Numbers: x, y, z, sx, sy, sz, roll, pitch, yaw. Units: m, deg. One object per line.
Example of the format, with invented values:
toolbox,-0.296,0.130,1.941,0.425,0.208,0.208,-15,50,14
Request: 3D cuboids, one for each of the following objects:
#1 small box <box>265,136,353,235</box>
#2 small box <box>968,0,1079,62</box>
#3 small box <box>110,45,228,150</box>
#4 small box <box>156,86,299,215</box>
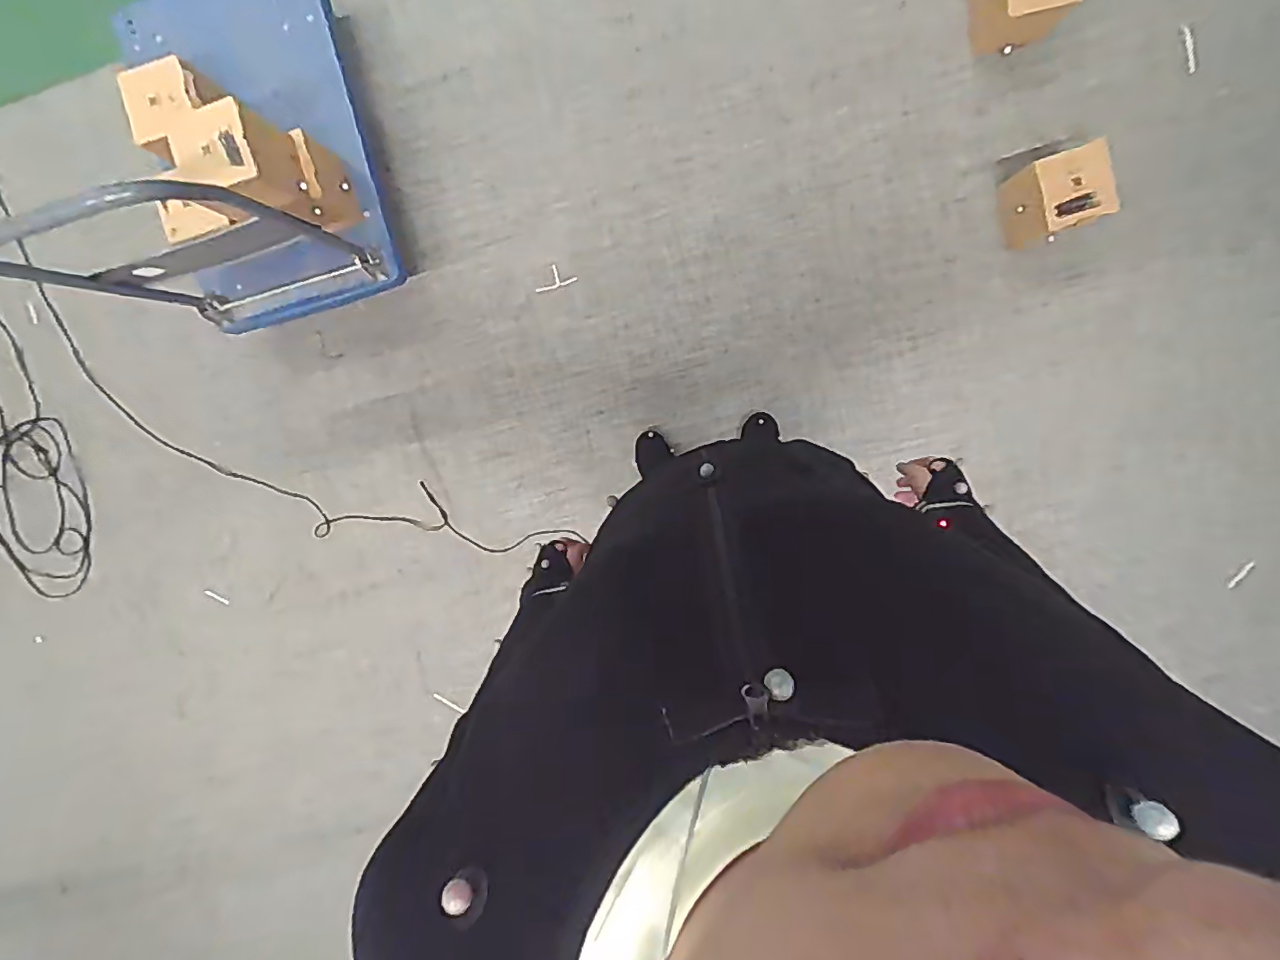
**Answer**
small box,-0.858,-0.744,1.363,0.168,0.176,0.179,17,99,0
small box,0.935,-1.189,1.333,0.168,0.176,0.179,-7,97,6
small box,-1.147,-0.929,1.353,0.179,0.176,0.168,-10,97,5
small box,-0.894,-0.716,1.195,0.179,0.176,0.168,-13,95,7
